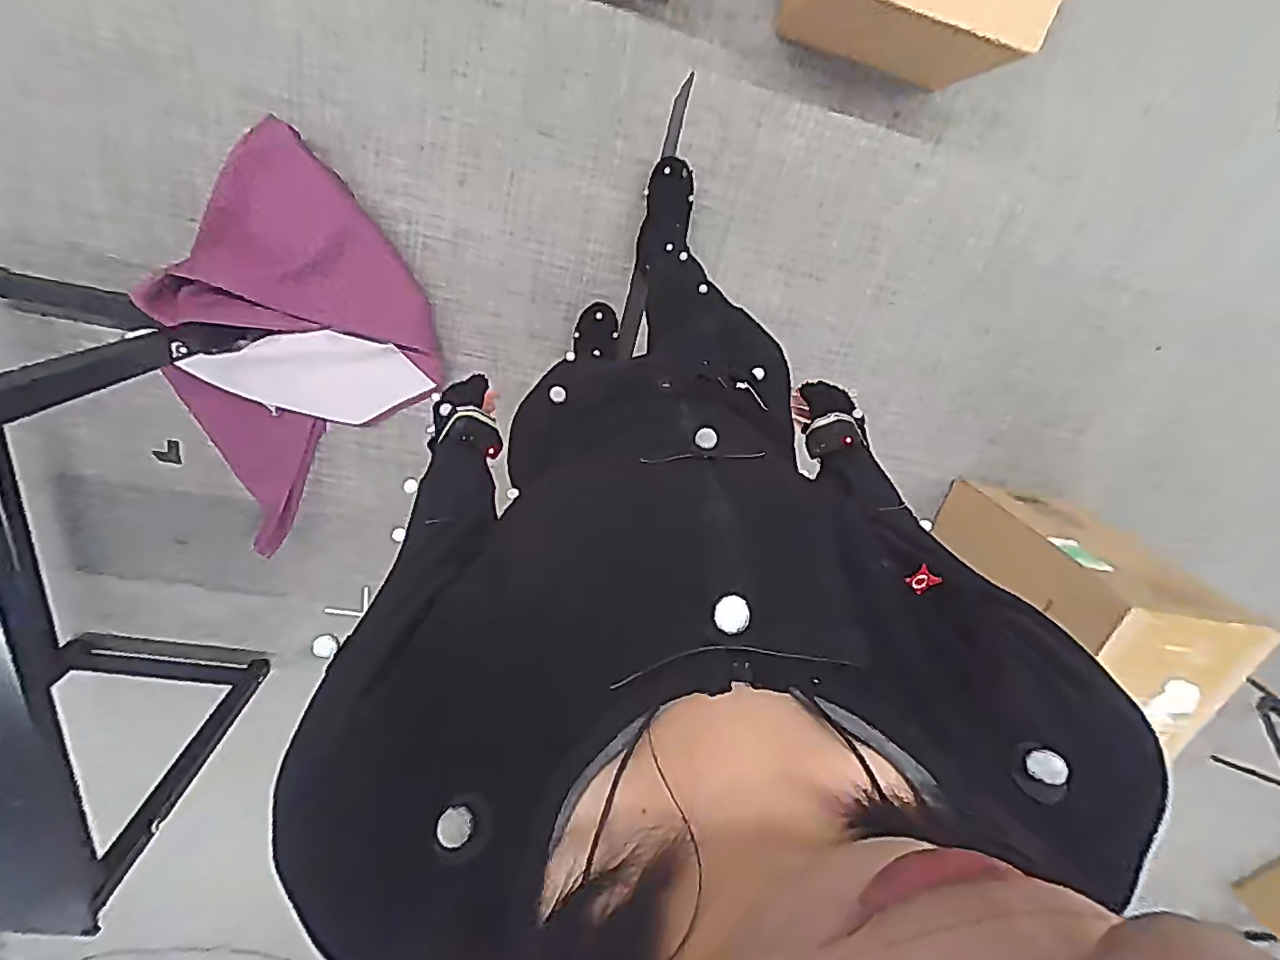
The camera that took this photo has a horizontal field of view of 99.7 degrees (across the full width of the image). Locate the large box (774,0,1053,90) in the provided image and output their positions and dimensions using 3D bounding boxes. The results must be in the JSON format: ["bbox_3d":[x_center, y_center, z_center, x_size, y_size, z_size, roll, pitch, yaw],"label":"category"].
[{"bbox_3d":[0.519,-0.985,0.999,0.408,0.320,0.320,10,115,-11],"label":"large box"}]
